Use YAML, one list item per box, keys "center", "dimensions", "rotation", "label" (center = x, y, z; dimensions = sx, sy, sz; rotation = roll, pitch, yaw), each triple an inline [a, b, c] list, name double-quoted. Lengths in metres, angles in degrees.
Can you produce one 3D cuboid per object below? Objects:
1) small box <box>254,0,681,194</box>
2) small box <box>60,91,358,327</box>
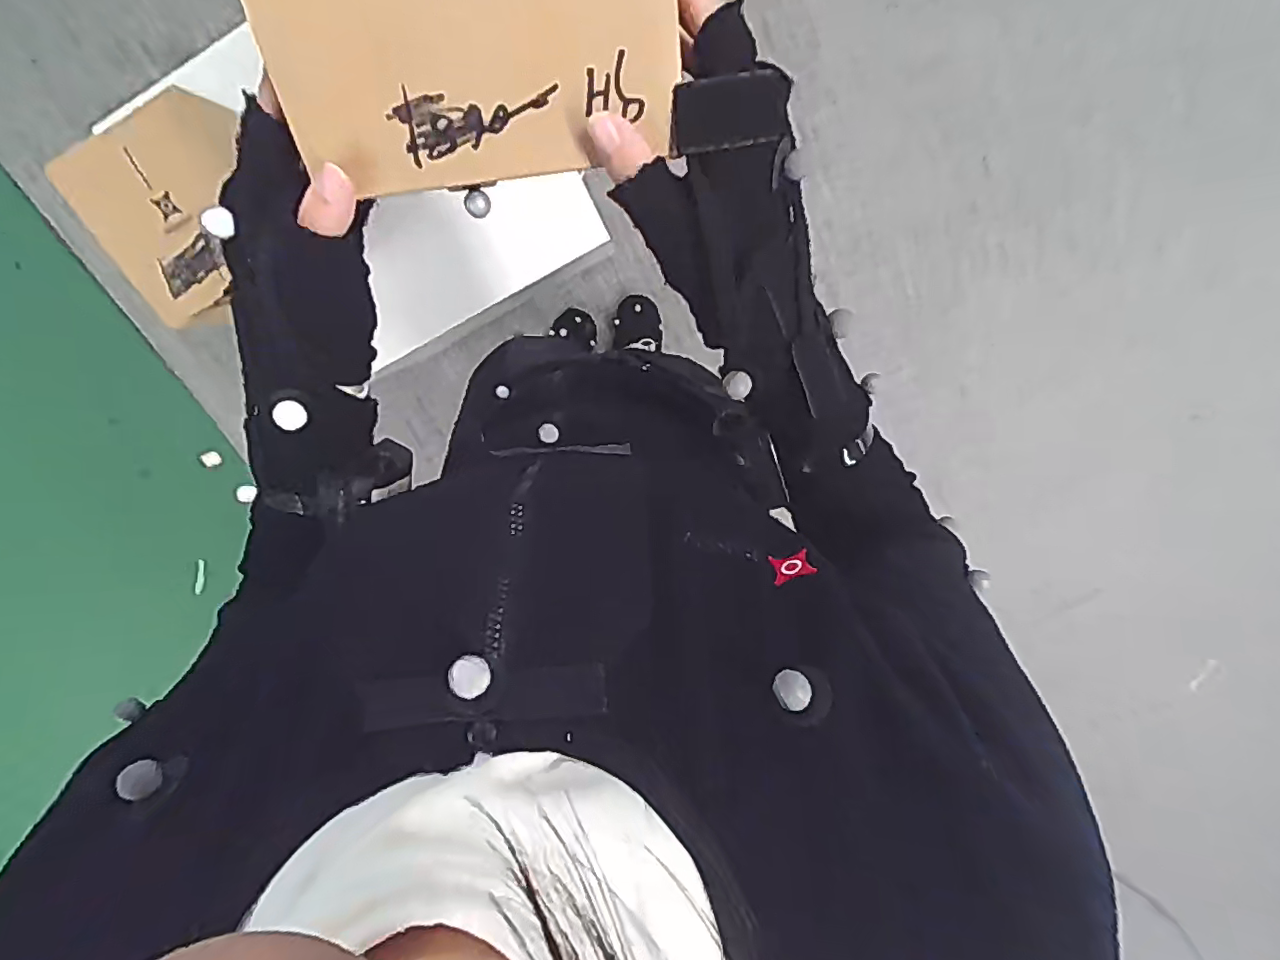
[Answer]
- center: [-0.071, -0.250, 0.267]
  dimensions: [0.168, 0.176, 0.179]
  rotation: [-5, 121, 3]
  label: "small box"
- center: [-0.477, -0.302, 0.636]
  dimensions: [0.168, 0.176, 0.179]
  rotation: [-25, 109, 7]
  label: "small box"
